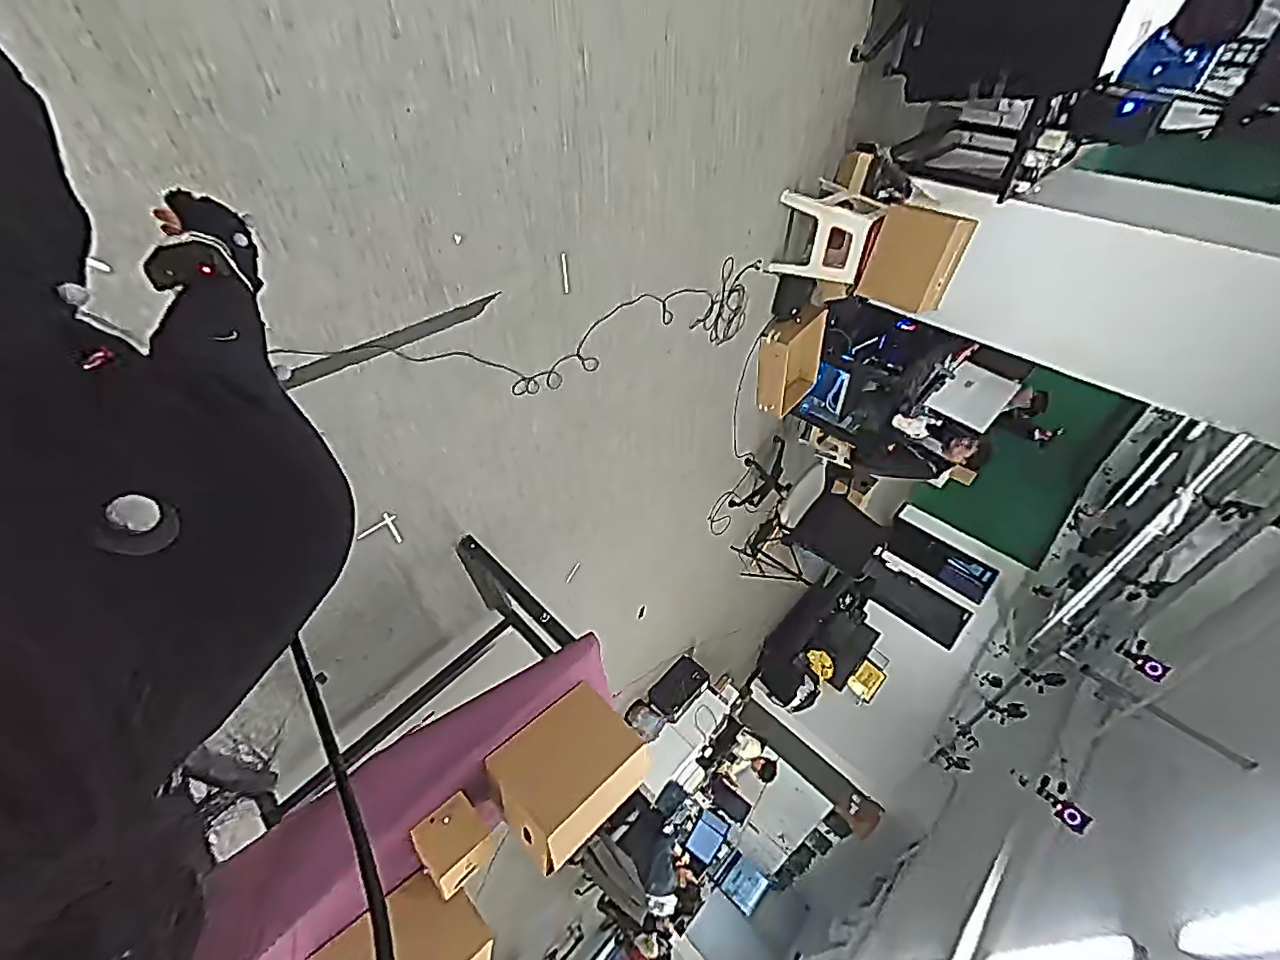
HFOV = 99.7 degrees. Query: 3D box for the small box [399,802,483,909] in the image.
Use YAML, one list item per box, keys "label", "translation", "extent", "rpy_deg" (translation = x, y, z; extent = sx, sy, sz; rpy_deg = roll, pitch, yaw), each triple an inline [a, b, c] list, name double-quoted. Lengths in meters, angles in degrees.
- label: "small box"
  translation: [-0.578, 1.089, 1.580]
  extent: [0.168, 0.176, 0.179]
  rpy_deg: [-28, 140, -40]
